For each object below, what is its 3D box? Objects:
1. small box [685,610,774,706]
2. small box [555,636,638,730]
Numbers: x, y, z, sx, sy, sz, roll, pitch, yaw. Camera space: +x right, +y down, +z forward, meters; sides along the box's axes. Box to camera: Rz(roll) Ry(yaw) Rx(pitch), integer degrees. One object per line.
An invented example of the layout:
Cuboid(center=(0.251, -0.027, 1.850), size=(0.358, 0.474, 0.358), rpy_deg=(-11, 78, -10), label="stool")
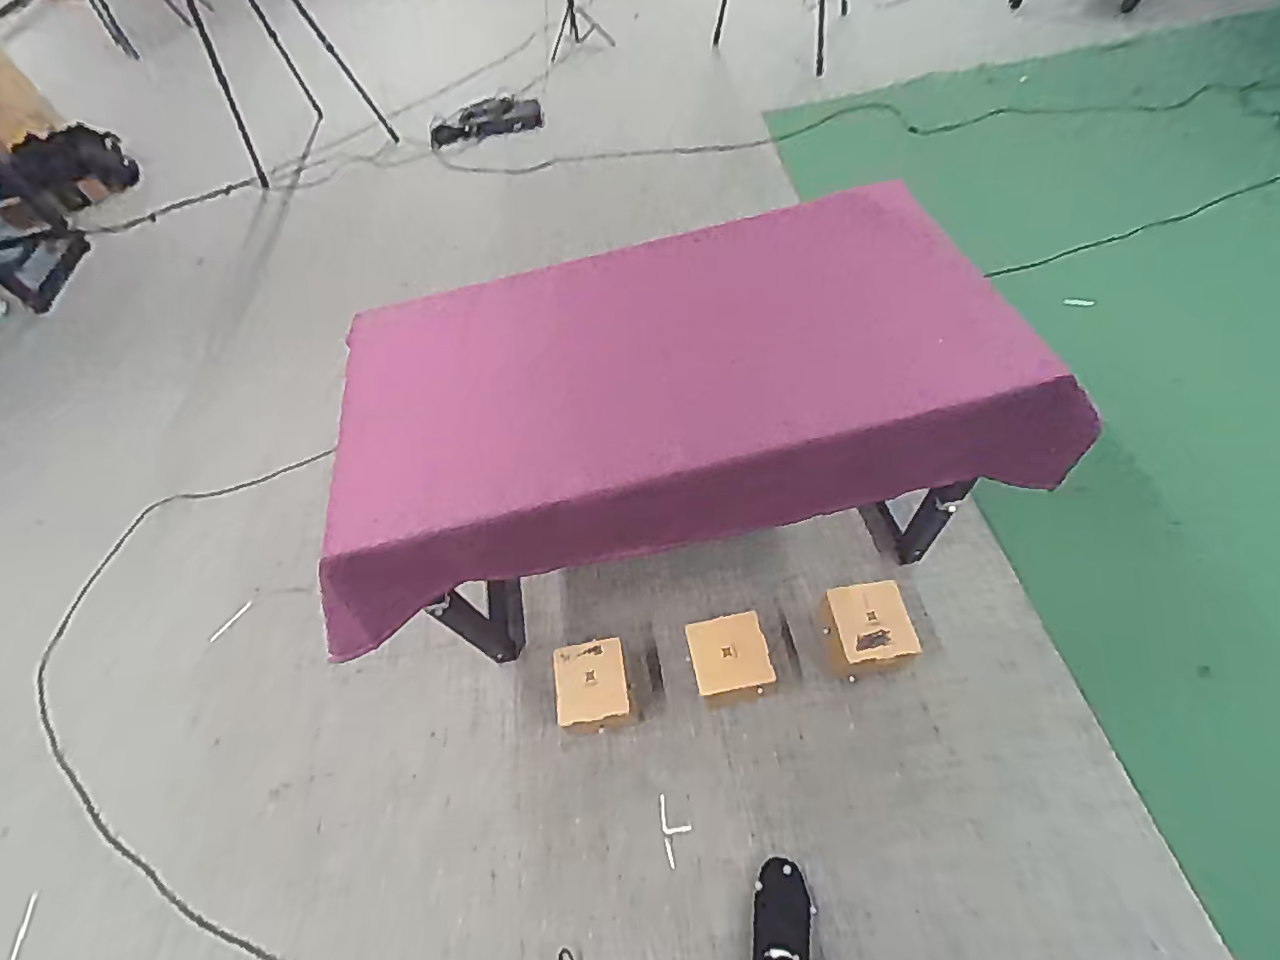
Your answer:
Cuboid(center=(0.216, 0.437, 1.315), size=(0.179, 0.176, 0.168), rpy_deg=(-13, 57, 1), label="small box")
Cuboid(center=(-0.104, 0.503, 1.324), size=(0.168, 0.176, 0.179), rpy_deg=(-11, 58, 0), label="small box")
